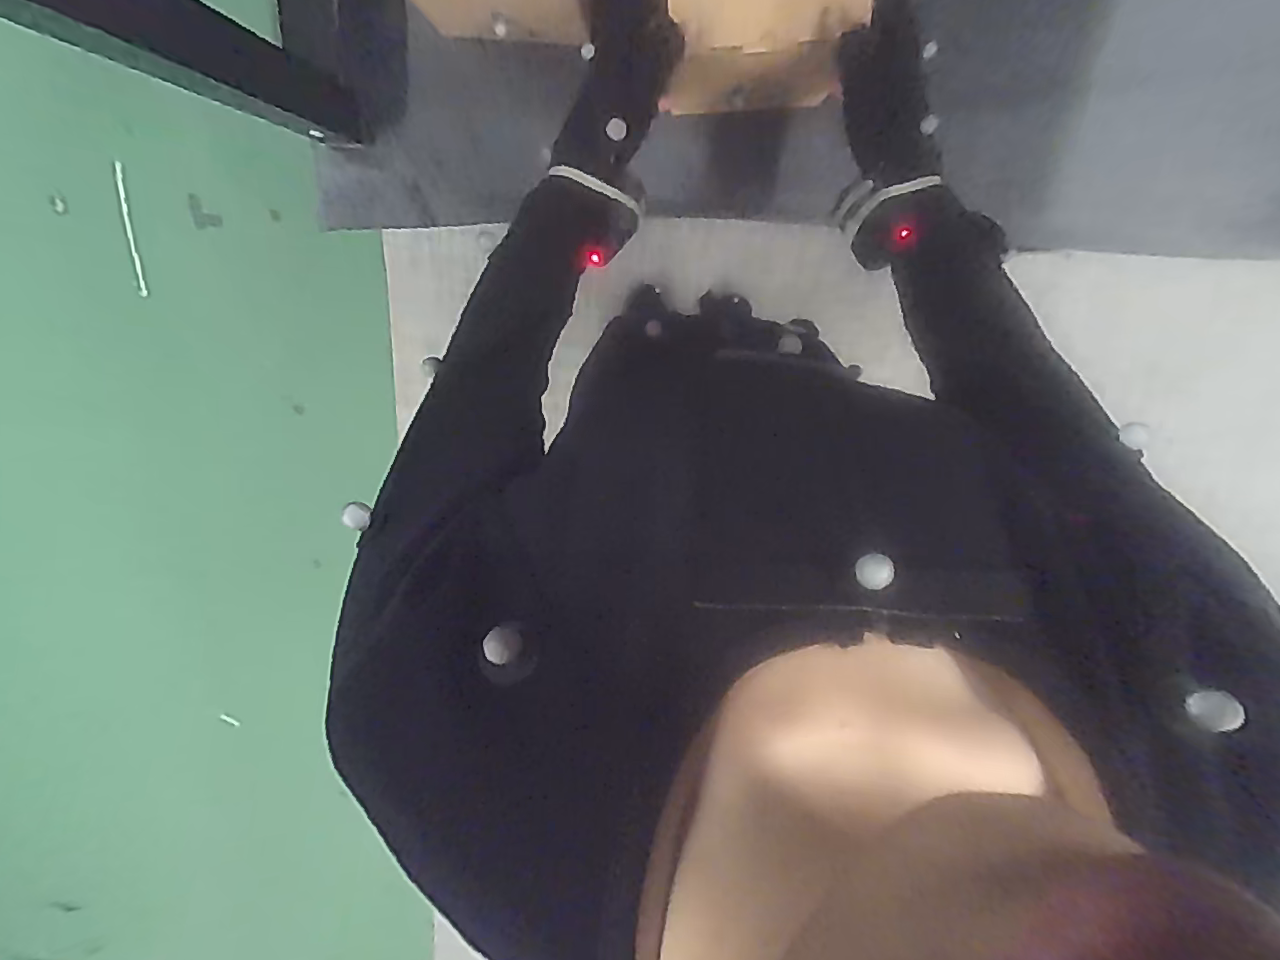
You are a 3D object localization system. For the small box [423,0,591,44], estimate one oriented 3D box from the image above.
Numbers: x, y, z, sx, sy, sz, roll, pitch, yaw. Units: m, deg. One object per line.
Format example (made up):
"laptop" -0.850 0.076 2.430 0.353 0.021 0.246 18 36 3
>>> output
"small box" -0.133 -0.531 0.477 0.168 0.176 0.179 5 110 2

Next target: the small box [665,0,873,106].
"small box" 0.105 -0.469 0.486 0.168 0.176 0.179 -2 110 5
